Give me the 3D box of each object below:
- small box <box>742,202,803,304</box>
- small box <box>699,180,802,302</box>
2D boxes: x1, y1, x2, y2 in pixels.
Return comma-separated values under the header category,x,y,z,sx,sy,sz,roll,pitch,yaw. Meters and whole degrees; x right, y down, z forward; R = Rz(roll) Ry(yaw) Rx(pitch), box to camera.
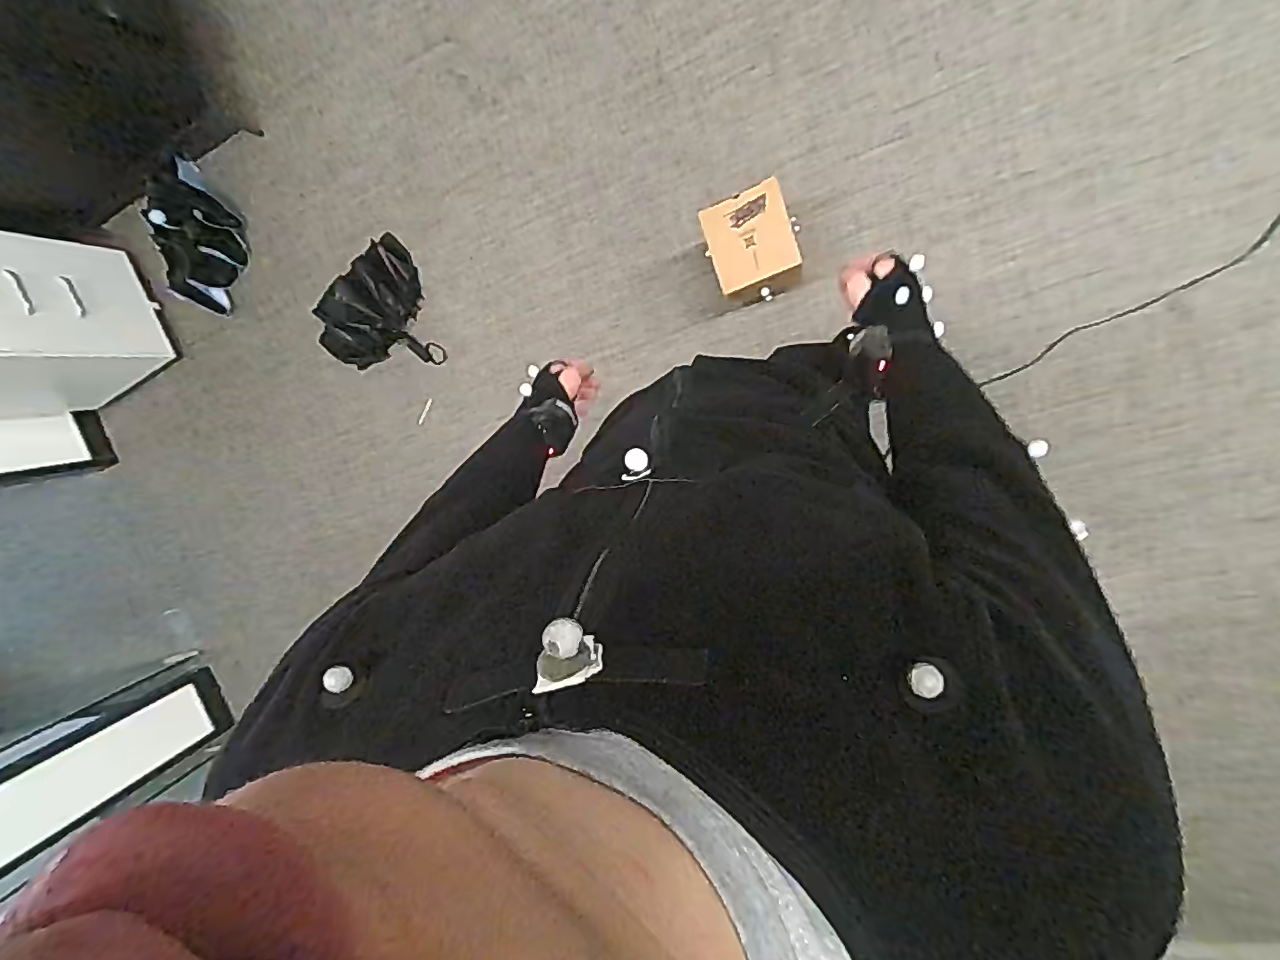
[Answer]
category,x,y,z,sx,sy,sz,roll,pitch,yaw
small box,0.291,-0.543,1.310,0.168,0.176,0.179,-17,98,21
small box,0.241,-0.499,1.160,0.168,0.176,0.179,-17,97,21
